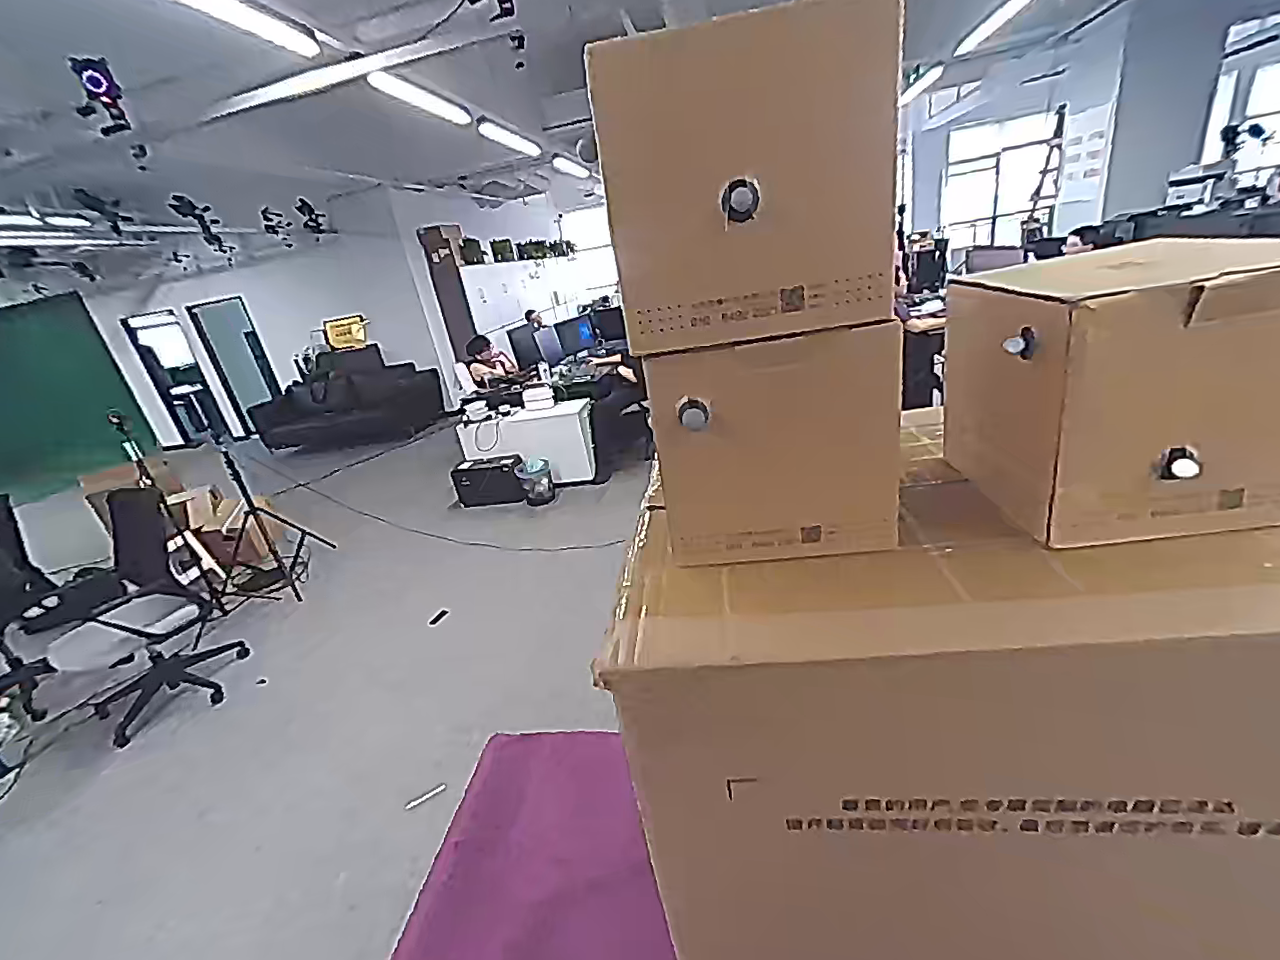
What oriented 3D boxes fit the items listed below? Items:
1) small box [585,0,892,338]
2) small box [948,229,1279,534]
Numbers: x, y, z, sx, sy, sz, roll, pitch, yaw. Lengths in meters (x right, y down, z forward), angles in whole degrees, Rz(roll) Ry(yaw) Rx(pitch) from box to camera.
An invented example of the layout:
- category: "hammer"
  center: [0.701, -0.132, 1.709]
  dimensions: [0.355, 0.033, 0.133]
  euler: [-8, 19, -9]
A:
- category: "small box"
  center: [0.068, -0.202, 0.384]
  dimensions: [0.168, 0.176, 0.179]
  euler: [-6, 22, 6]
- category: "small box"
  center: [0.347, -0.078, 0.399]
  dimensions: [0.168, 0.176, 0.179]
  euler: [-8, 23, 9]
